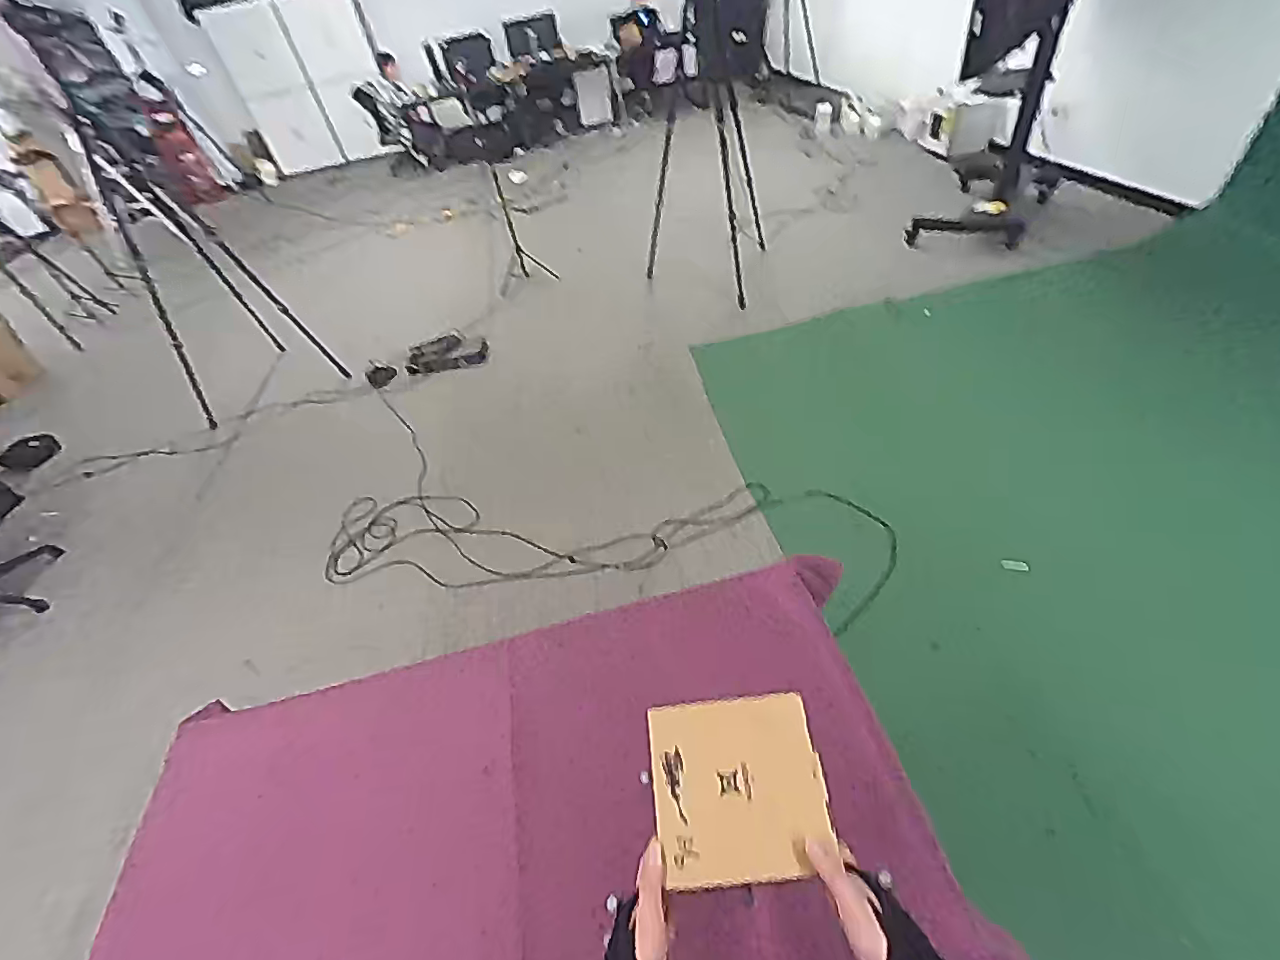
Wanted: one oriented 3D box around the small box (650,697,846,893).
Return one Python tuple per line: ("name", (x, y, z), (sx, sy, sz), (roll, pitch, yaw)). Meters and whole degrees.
("small box", (0.106, 0.358, 0.610), (0.179, 0.176, 0.168), (-5, 51, 2))
